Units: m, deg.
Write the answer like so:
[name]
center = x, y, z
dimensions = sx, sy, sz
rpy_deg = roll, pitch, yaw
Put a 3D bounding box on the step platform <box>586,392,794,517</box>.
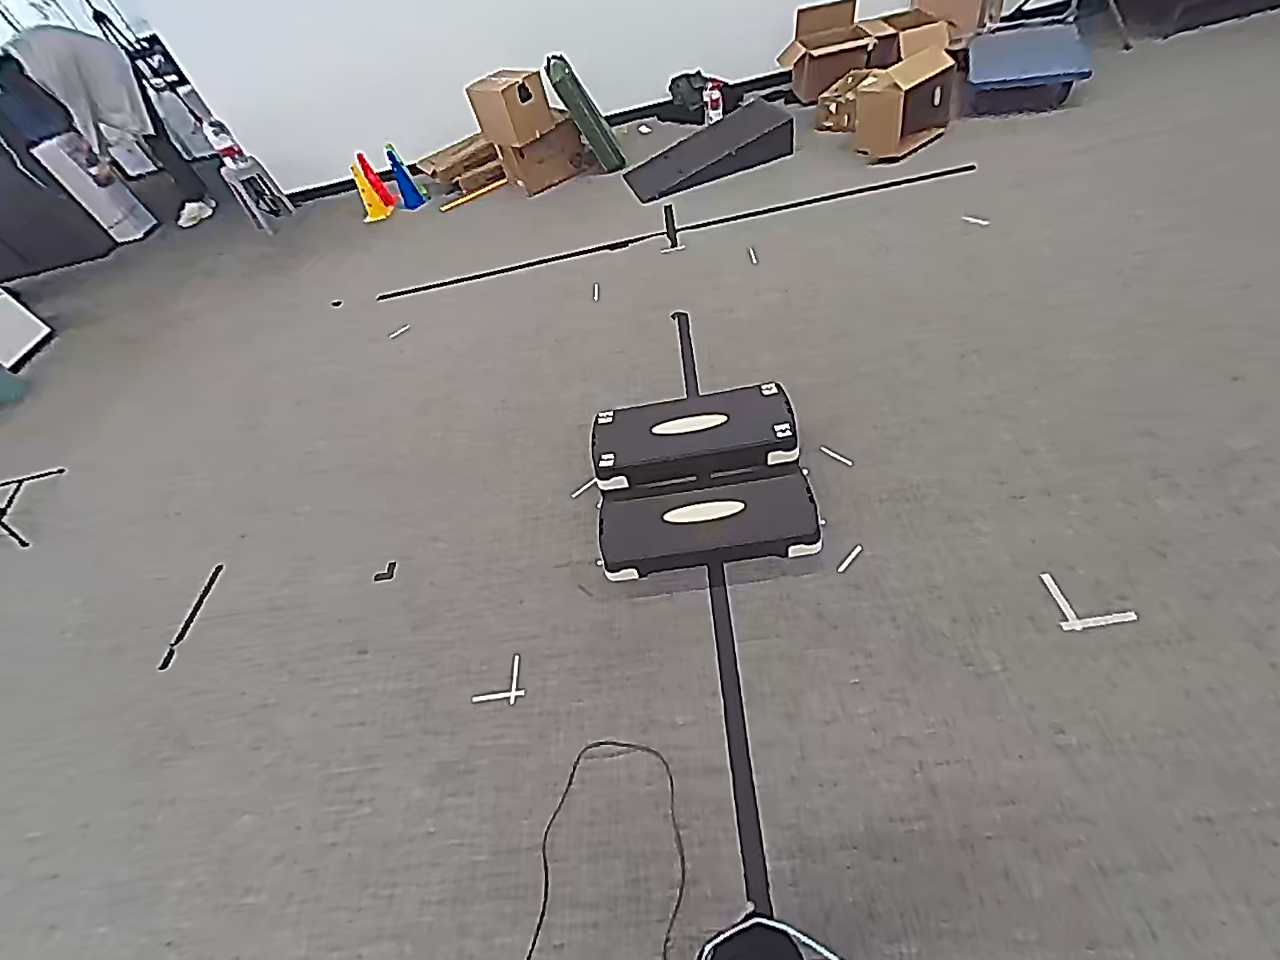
[step platform]
center = 0.161, -0.089, 1.823
dimensions = 0.684, 0.204, 0.286
rpy_deg = -9, 50, 6
